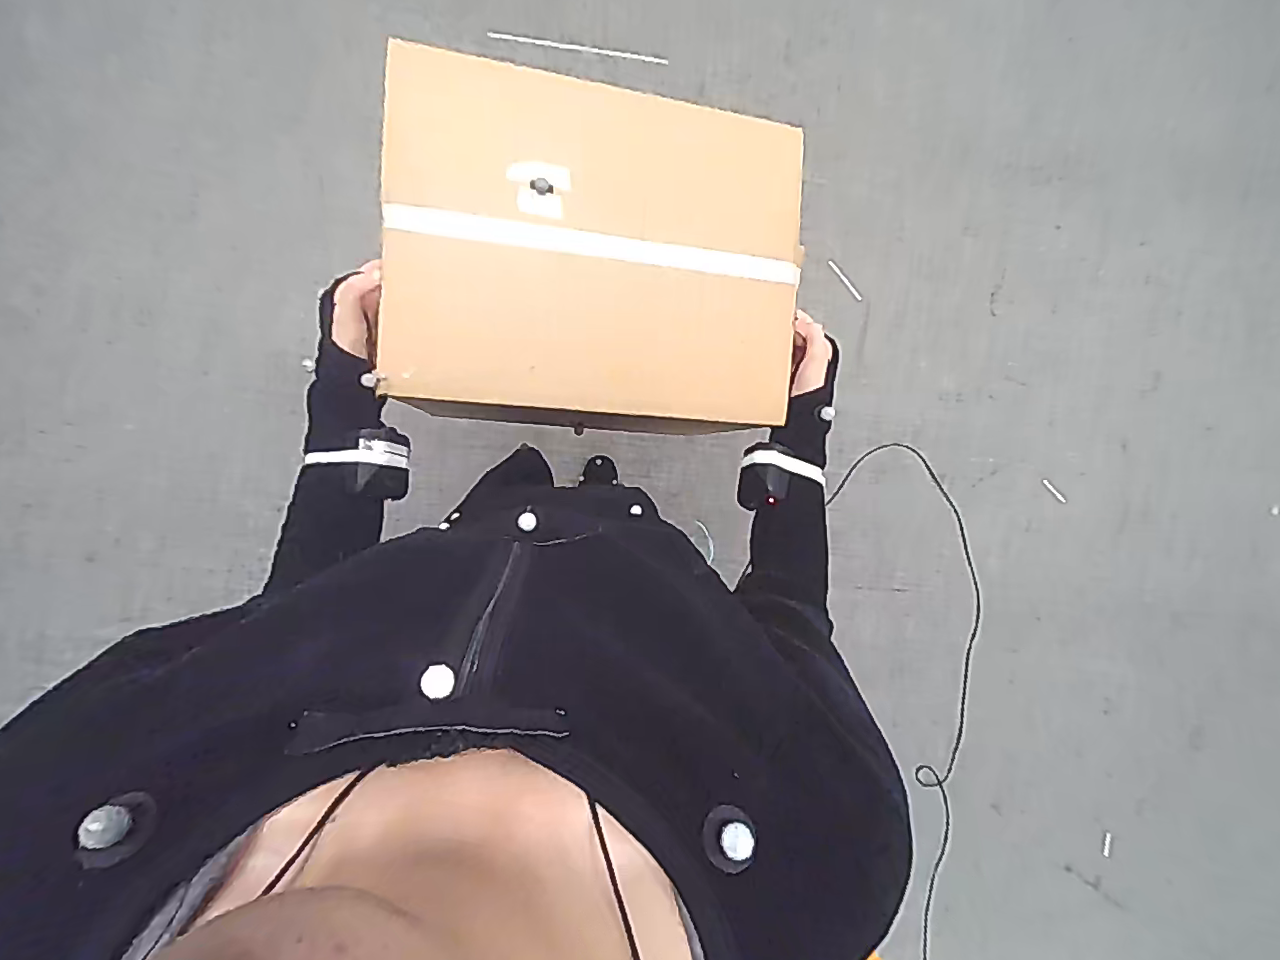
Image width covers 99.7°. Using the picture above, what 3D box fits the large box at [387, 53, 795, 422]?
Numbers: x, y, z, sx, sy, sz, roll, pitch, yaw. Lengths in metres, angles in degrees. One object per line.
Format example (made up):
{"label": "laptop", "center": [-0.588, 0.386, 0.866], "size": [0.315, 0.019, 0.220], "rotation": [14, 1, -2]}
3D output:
{"label": "large box", "center": [-0.066, -0.239, 0.682], "size": [0.408, 0.320, 0.320], "rotation": [3, 92, -13]}
